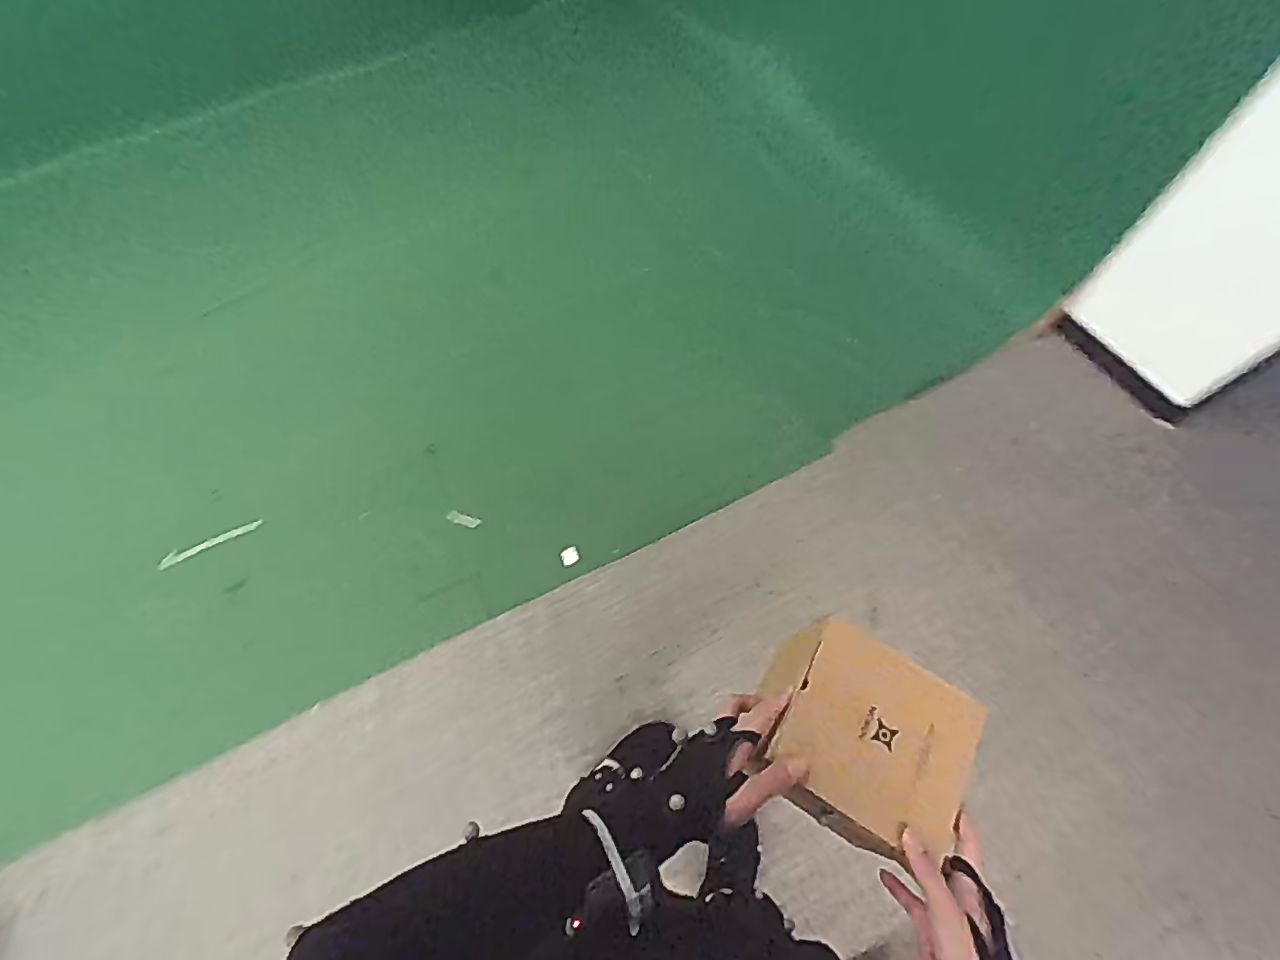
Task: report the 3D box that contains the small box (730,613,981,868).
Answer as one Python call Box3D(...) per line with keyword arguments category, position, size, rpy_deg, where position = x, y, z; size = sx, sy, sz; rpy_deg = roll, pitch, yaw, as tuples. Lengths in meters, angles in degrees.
Box3D(category="small box", position=(0.221, 0.277, 0.593), size=(0.179, 0.176, 0.168), rpy_deg=(31, 65, 9))
